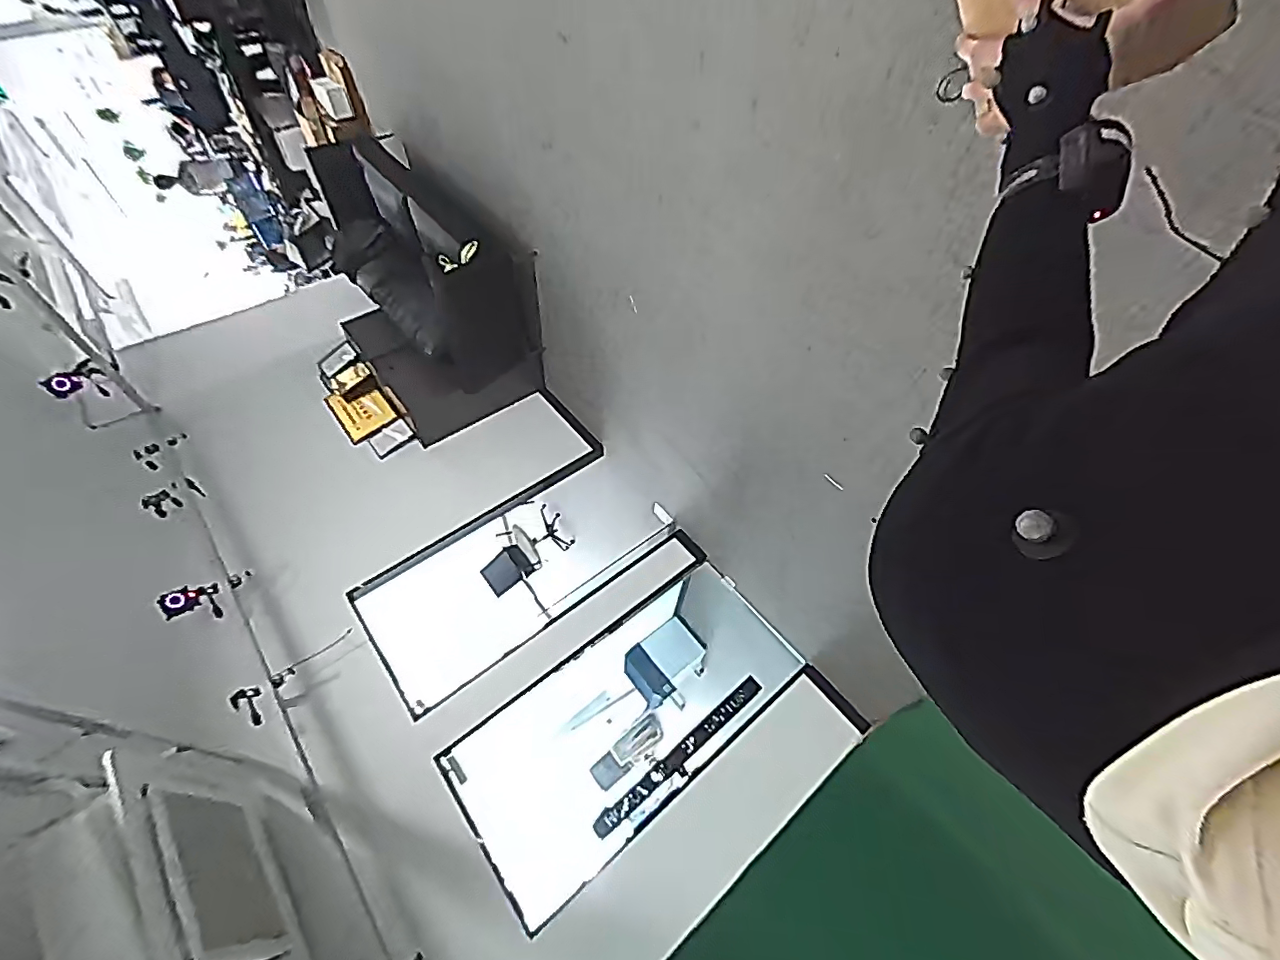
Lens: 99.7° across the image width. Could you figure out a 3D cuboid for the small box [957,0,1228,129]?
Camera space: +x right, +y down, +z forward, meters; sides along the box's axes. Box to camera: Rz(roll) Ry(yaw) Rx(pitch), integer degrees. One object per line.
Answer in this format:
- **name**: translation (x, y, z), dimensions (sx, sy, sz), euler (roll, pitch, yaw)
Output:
- **small box**: translation (0.445, -0.494, 0.535), dimensions (0.168, 0.176, 0.179), euler (18, 141, 56)
